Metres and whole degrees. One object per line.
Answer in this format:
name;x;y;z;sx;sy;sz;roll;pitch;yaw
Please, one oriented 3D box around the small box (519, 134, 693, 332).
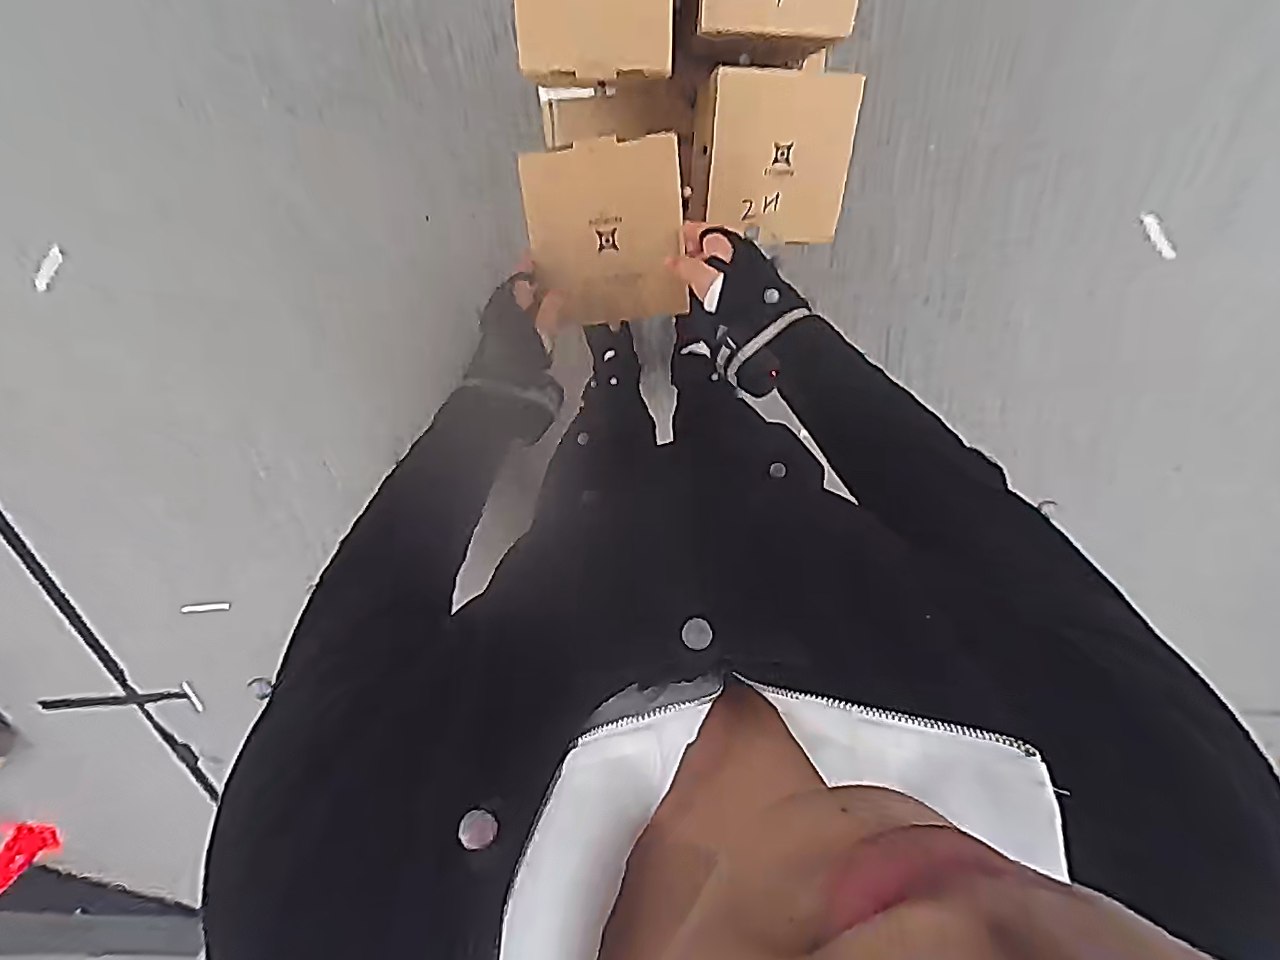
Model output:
small box;-0.031;-0.274;0.635;0.168;0.176;0.179;-6;109;4
